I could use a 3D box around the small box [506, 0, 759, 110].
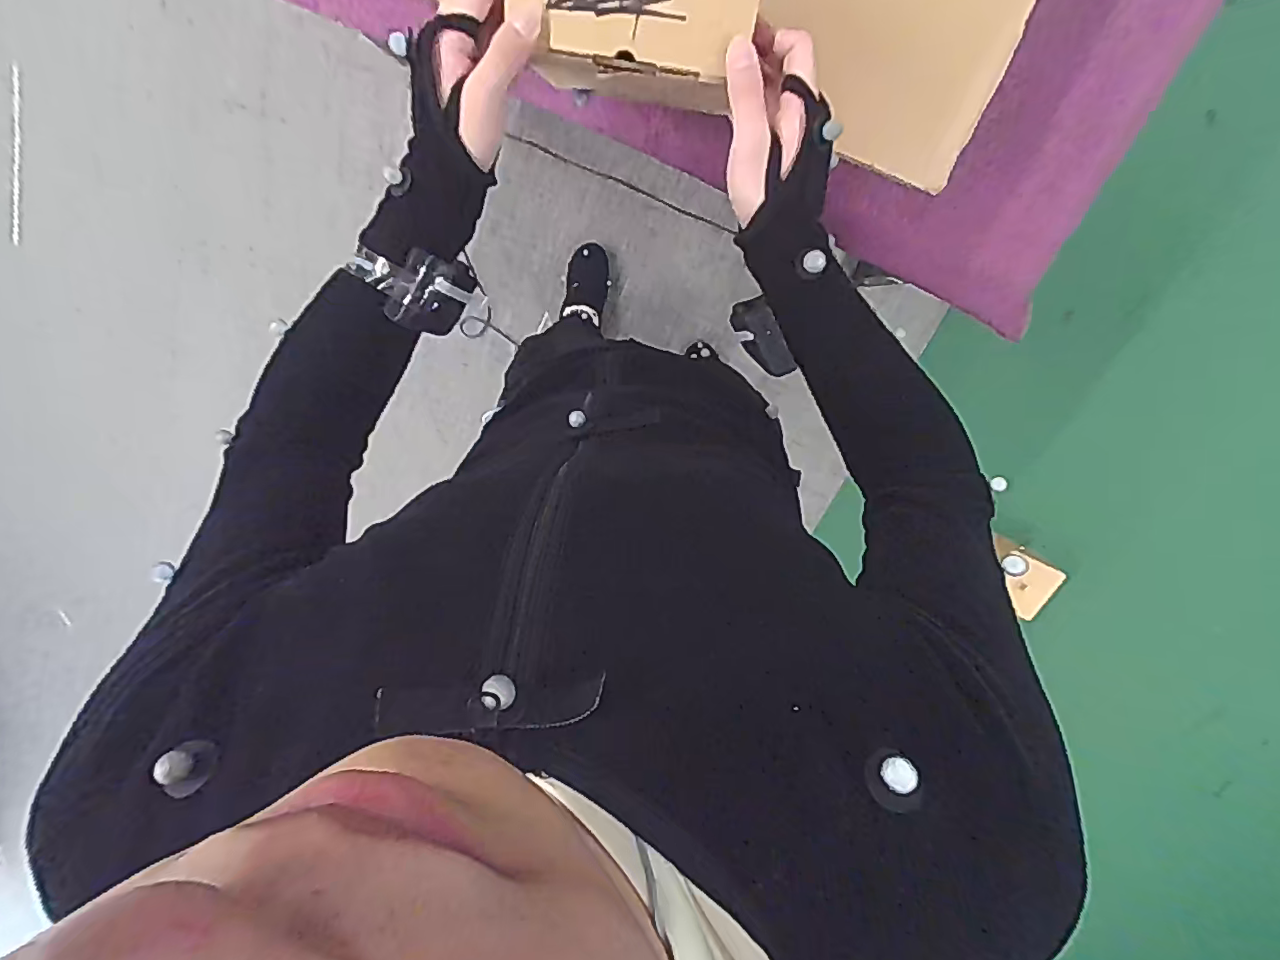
[{"bbox_3d":[0.009,-0.391,0.392,0.168,0.176,0.179,9,117,-1],"label":"small box"}]

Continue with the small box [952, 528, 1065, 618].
[{"bbox_3d":[1.063,0.263,1.577,0.179,0.176,0.168,24,109,-3],"label":"small box"}]
